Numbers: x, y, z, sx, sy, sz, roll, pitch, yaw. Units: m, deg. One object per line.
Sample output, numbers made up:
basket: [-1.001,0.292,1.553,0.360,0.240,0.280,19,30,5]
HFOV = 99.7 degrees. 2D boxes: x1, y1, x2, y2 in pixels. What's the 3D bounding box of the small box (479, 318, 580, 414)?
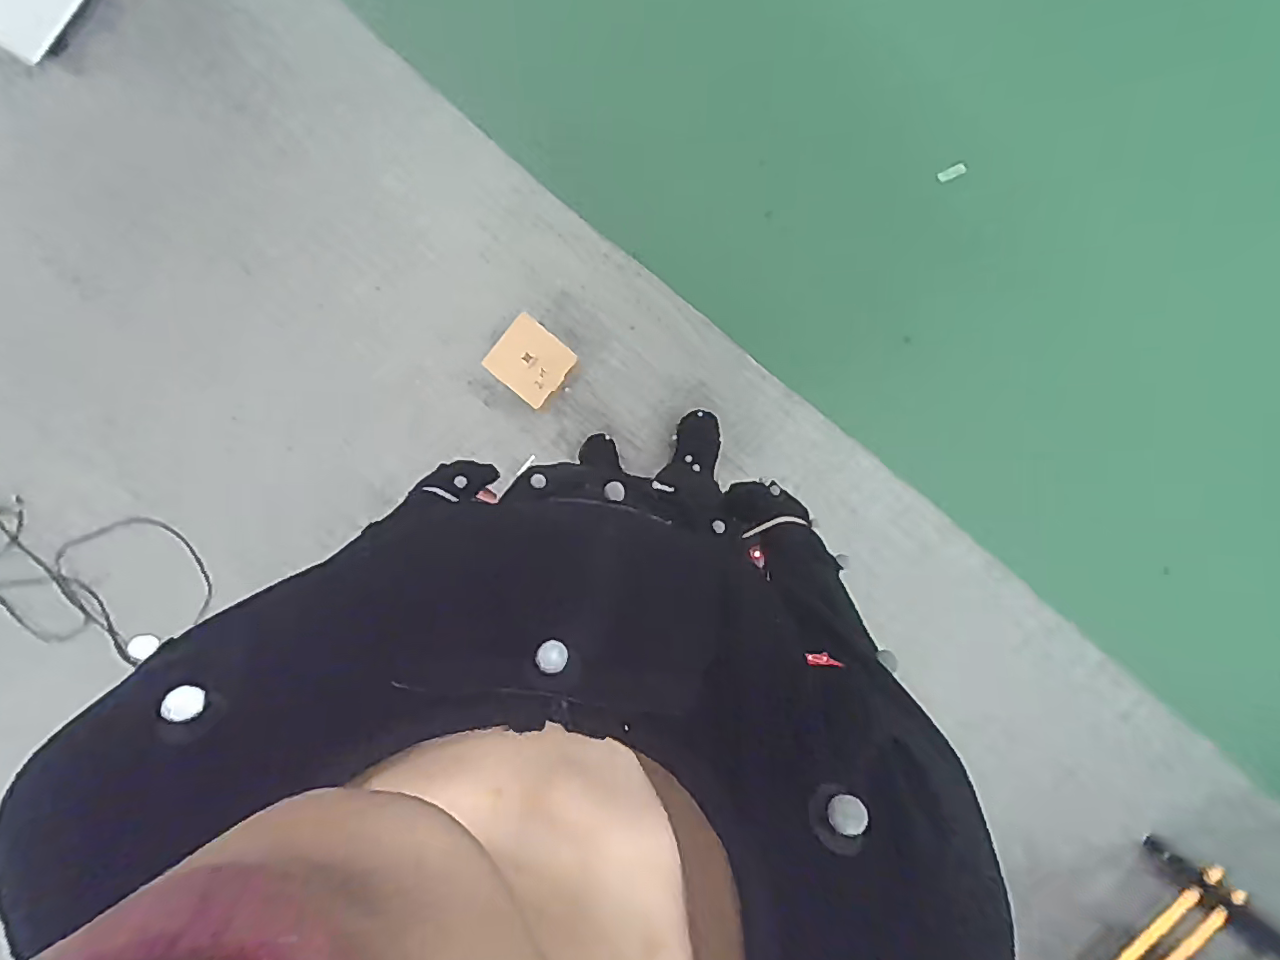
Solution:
small box: [-0.273,-0.278,1.376,0.179,0.176,0.168,39,93,-4]
